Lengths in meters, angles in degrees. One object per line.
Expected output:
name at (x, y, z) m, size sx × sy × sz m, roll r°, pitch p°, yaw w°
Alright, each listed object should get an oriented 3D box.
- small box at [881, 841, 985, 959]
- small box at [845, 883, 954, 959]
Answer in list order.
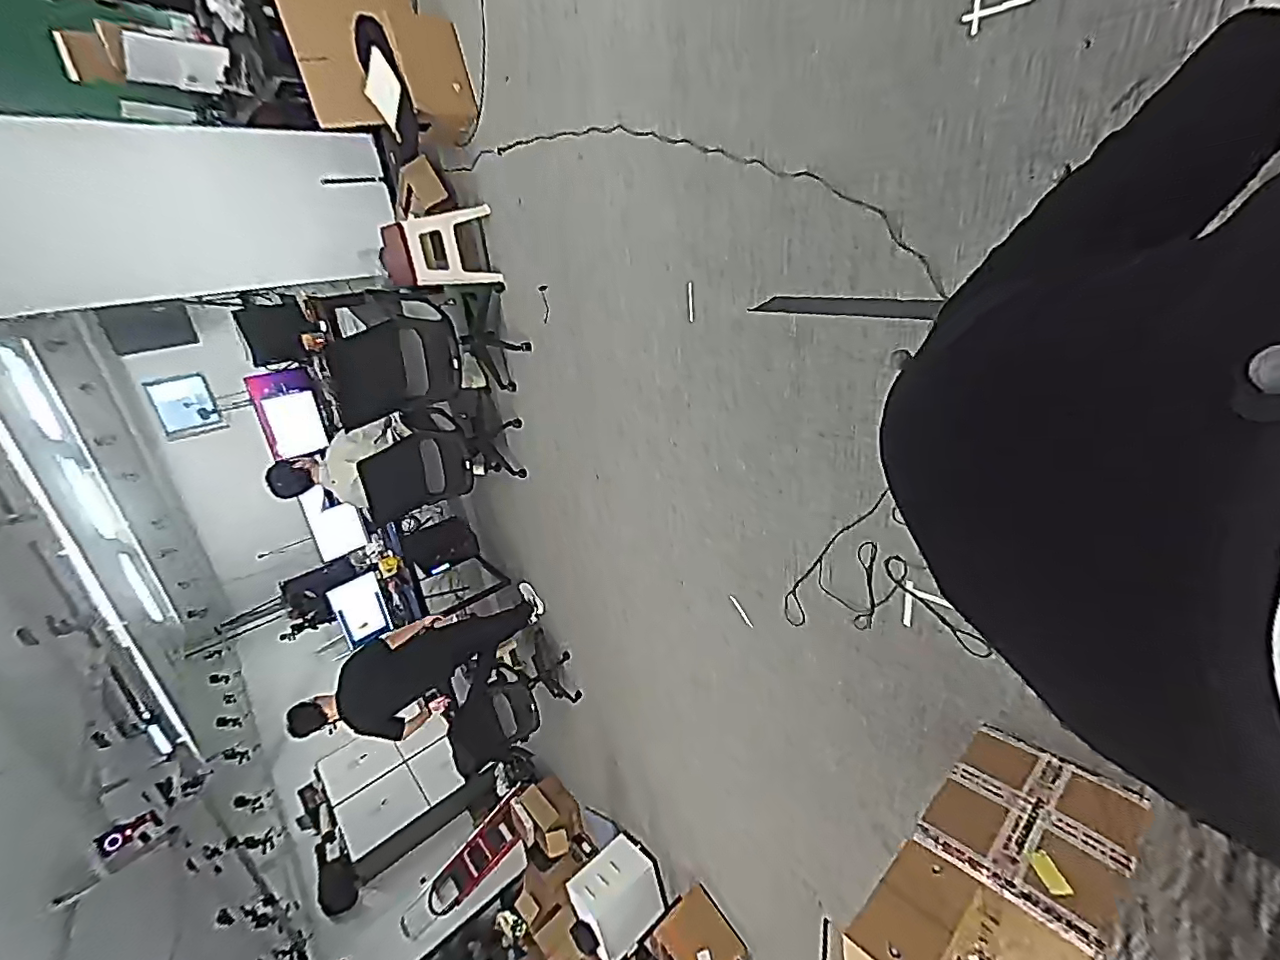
small box at (0.722, 1.045, 1.338) m, size 0.179 × 0.176 × 0.168 m, roll 11°, pitch 115°, yaw 50°
small box at (0.596, 1.086, 1.238) m, size 0.179 × 0.176 × 0.168 m, roll 11°, pitch 114°, yaw 50°
